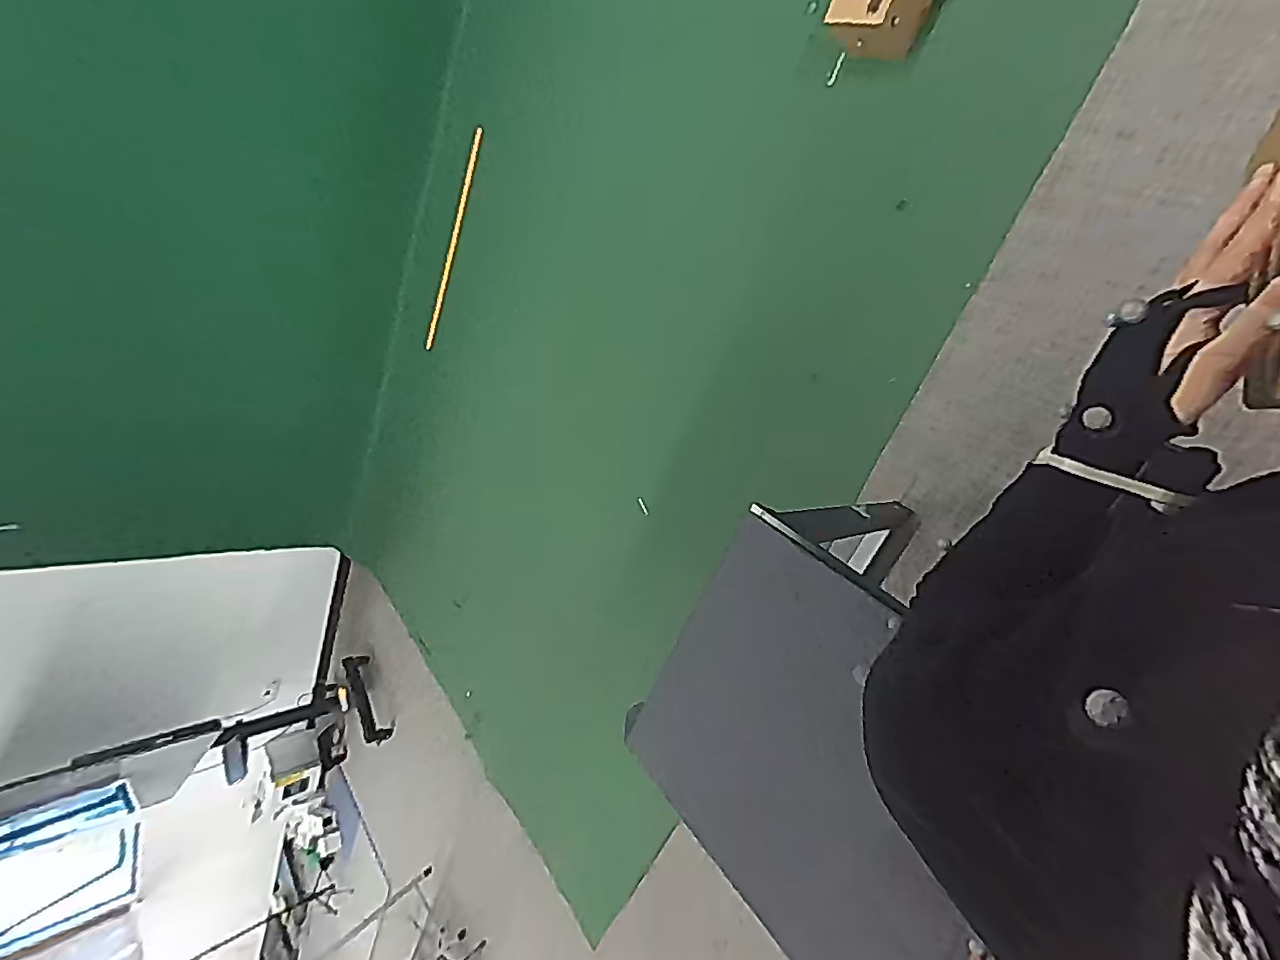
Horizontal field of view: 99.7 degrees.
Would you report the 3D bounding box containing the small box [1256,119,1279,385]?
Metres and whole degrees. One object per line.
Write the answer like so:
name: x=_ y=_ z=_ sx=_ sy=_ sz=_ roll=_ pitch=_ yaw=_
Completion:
small box: x=0.430 y=-0.140 z=0.254 sx=0.168 sy=0.176 sz=0.179 roll=-1 pitch=93 yaw=40
